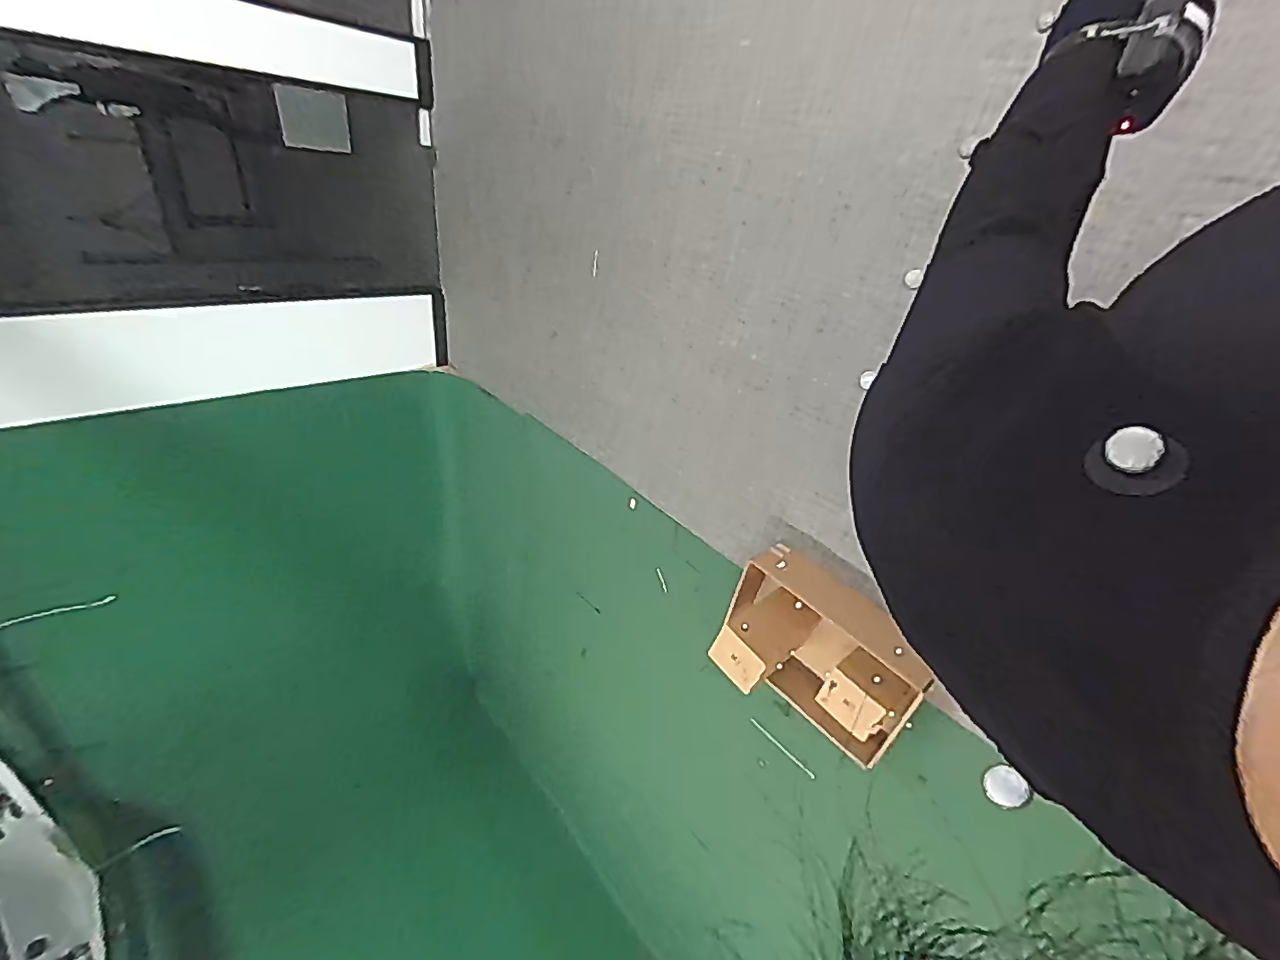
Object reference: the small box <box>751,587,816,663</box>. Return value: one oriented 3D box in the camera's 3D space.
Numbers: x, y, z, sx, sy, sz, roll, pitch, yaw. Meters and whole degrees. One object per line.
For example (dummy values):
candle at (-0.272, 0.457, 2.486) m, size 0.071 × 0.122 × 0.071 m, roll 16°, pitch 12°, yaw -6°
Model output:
small box at (0.458, 0.494, 1.812) m, size 0.168 × 0.176 × 0.179 m, roll 42°, pitch 131°, yaw 29°

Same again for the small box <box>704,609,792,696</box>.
small box at (0.340, 0.532, 1.703) m, size 0.179 × 0.176 × 0.168 m, roll 42°, pitch 132°, yaw 29°
